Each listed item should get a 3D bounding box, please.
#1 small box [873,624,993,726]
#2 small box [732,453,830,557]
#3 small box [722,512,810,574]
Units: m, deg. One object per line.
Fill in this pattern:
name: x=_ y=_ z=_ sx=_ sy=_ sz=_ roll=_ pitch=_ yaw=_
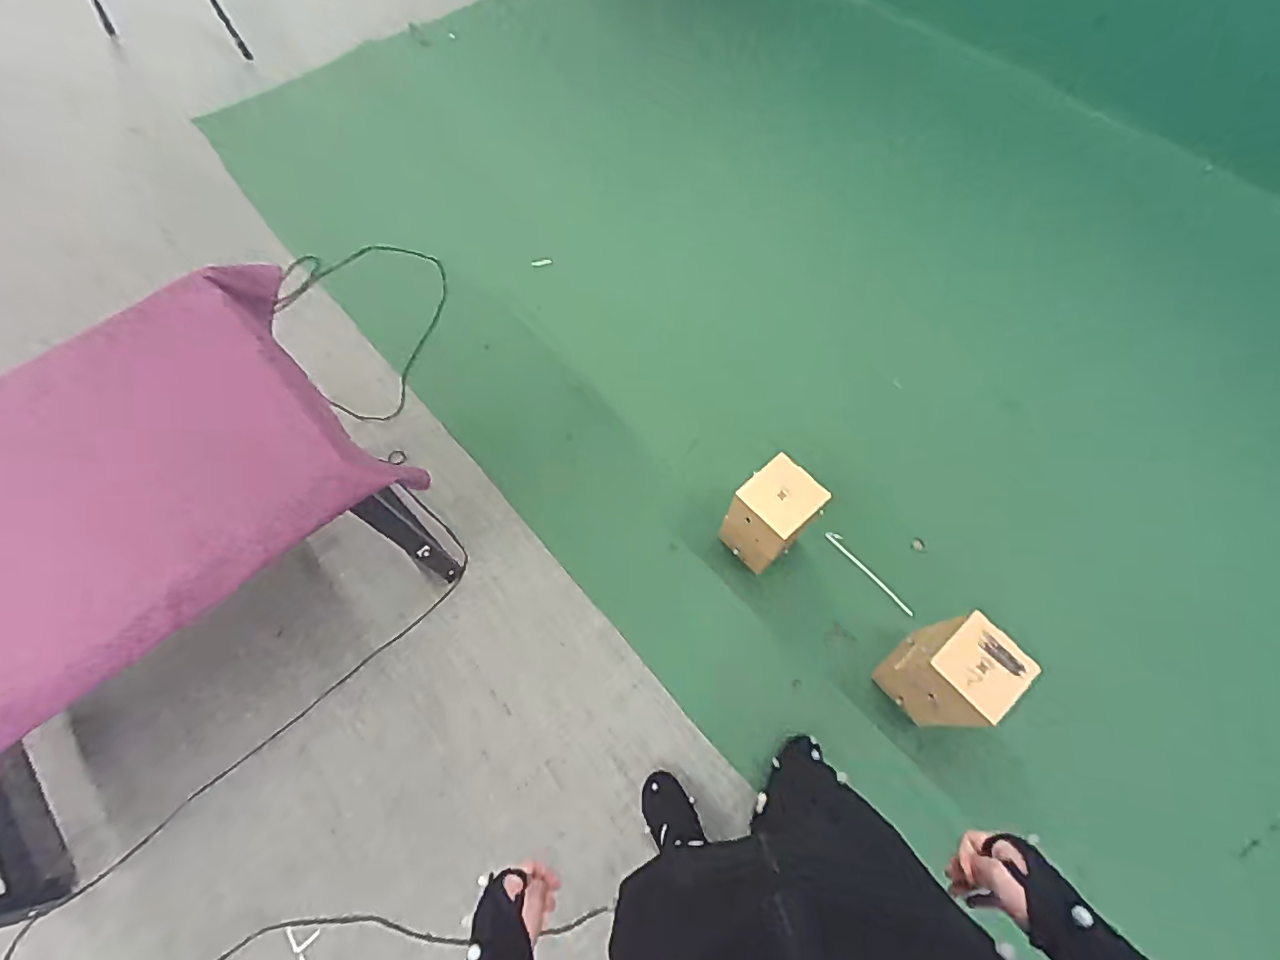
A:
small box: x=0.731 y=0.496 z=1.372 sx=0.179 sy=0.176 sz=0.168 roll=-37 pitch=70 yaw=-15
small box: x=0.353 y=0.071 z=1.396 sx=0.179 sy=0.176 sz=0.168 roll=-39 pitch=70 yaw=-17
small box: x=0.353 y=0.138 z=1.543 sx=0.179 sy=0.176 sz=0.168 roll=-39 pitch=70 yaw=-15
